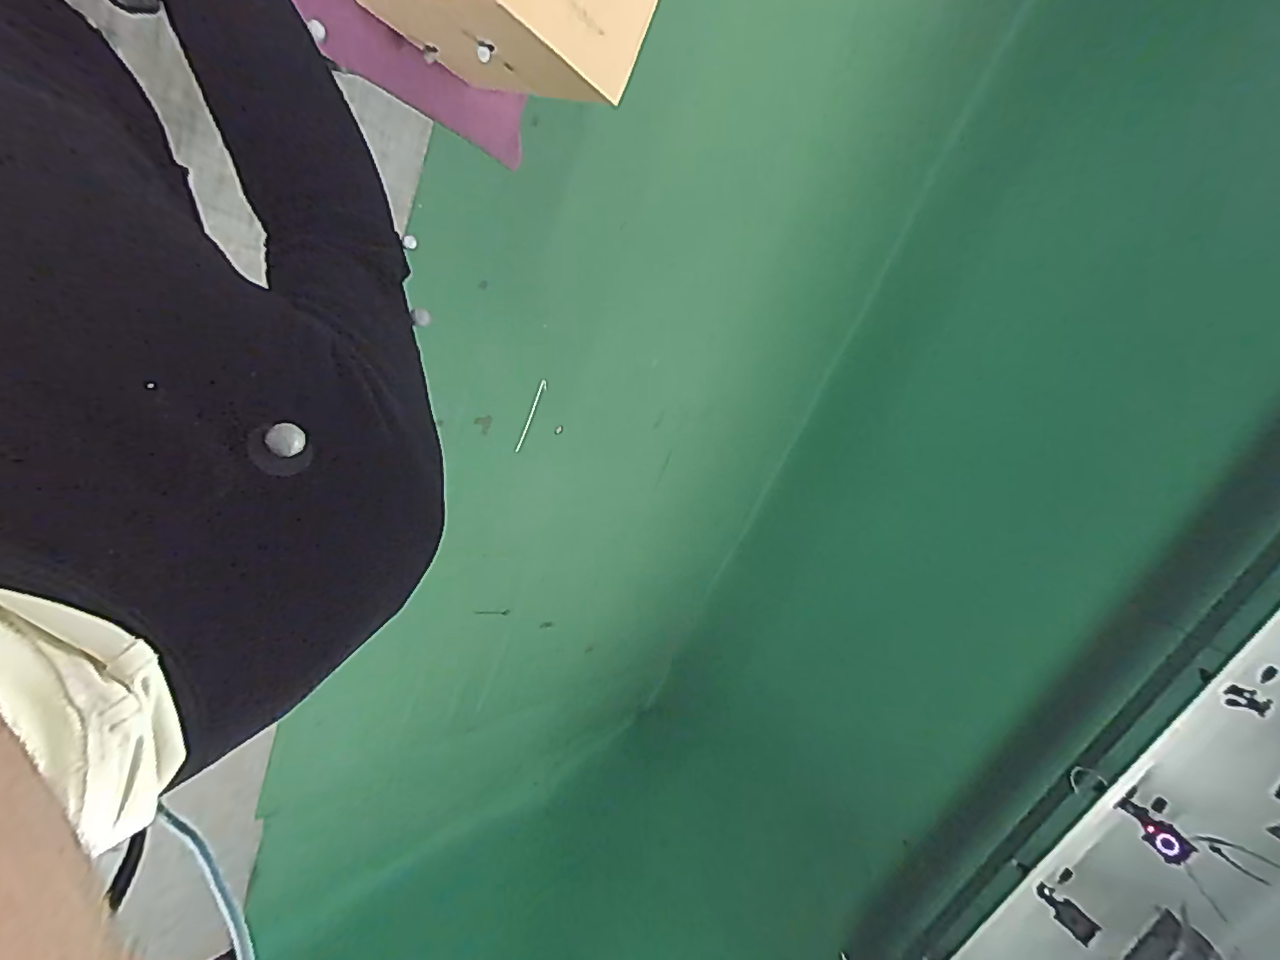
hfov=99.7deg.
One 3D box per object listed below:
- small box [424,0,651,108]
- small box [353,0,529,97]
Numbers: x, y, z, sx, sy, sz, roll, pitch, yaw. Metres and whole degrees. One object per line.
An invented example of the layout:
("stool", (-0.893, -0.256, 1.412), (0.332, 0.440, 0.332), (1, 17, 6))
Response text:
("small box", (-0.103, -0.538, 0.571), (0.168, 0.176, 0.179), (6, 114, -51))
("small box", (-0.218, -0.613, 0.661), (0.179, 0.176, 0.168), (5, 114, -53))
